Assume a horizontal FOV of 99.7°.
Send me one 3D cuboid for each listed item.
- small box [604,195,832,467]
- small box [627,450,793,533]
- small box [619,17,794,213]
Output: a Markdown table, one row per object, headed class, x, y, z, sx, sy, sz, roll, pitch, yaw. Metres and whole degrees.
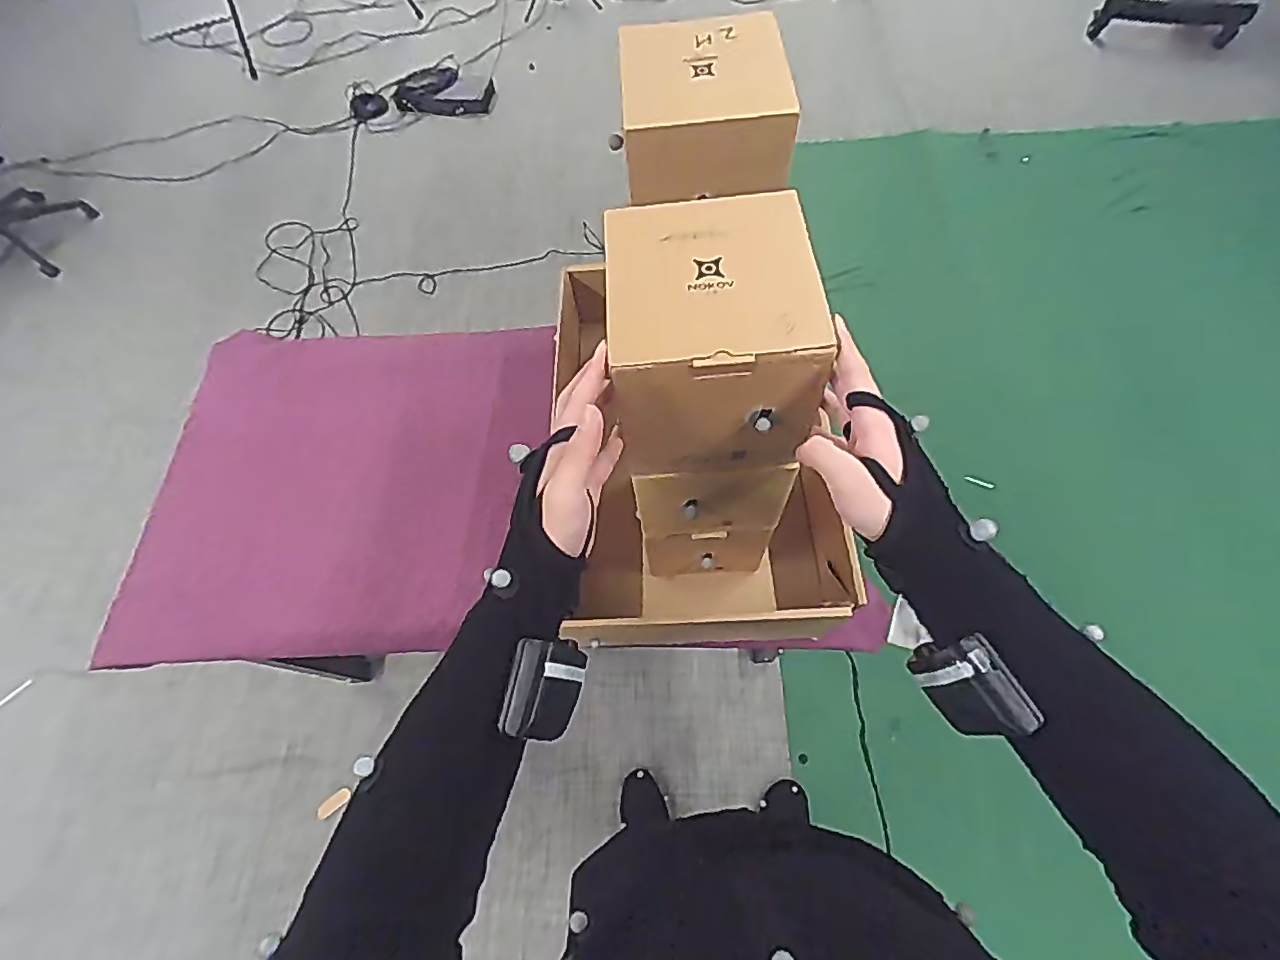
| class | x | y | z | sx | sy | sz | roll | pitch | yaw |
| --- | --- | --- | --- | --- | --- | --- | --- | --- | --- |
| small box | 0.060 | -0.121 | 0.494 | 0.168 | 0.176 | 0.179 | -5 | 63 | 3 |
| small box | 0.075 | -0.043 | 0.636 | 0.168 | 0.176 | 0.179 | -4 | 63 | 4 |
| small box | 0.067 | -0.369 | 0.609 | 0.168 | 0.176 | 0.179 | -3 | 65 | 3 |
